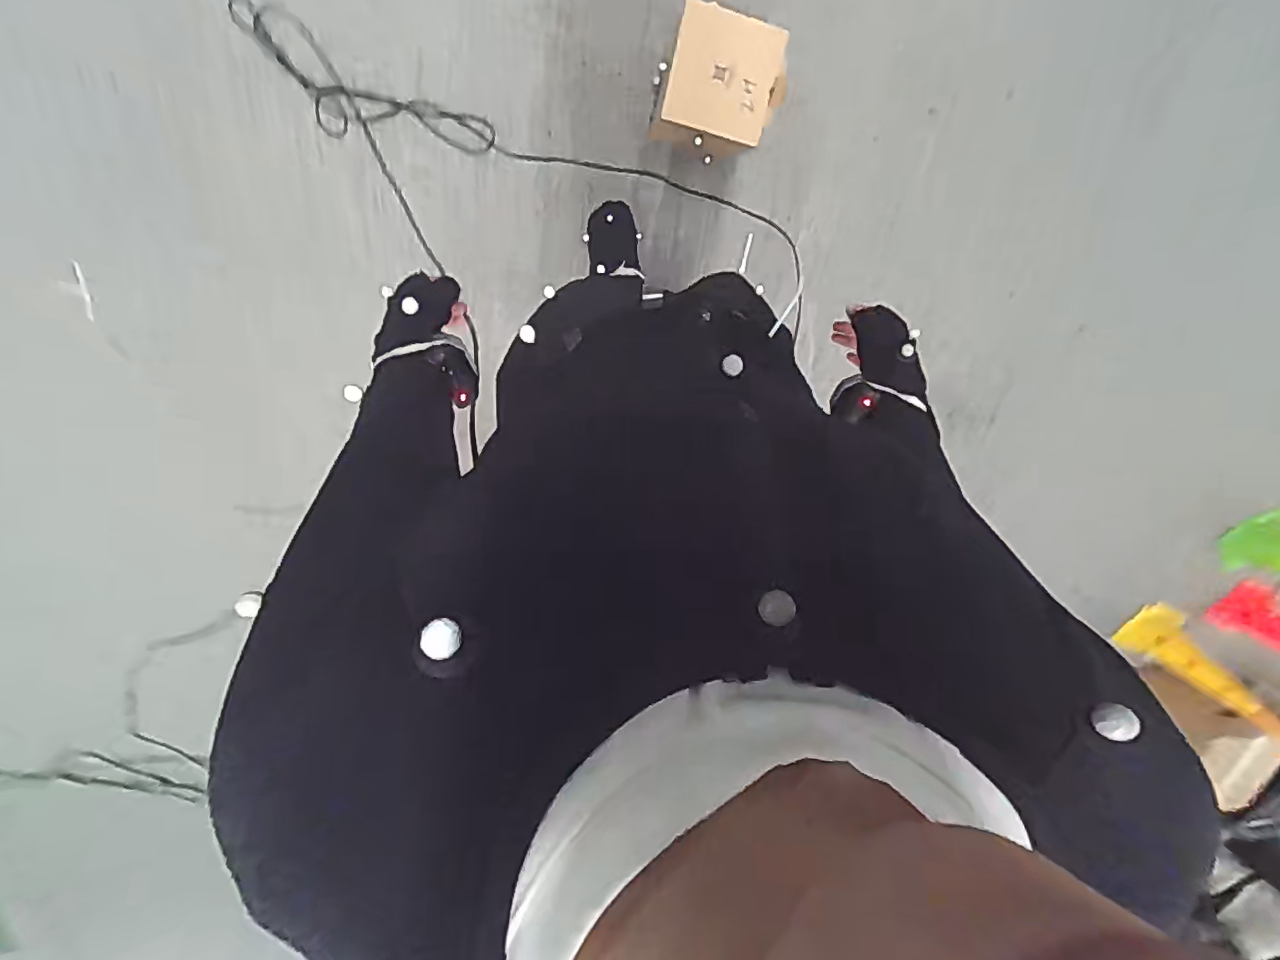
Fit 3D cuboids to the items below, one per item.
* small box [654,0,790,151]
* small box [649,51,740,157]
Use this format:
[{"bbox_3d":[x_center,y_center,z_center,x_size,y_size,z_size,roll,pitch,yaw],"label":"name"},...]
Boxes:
[{"bbox_3d":[0.131,-0.697,0.950,0.179,0.176,0.168,11,115,-10],"label":"small box"},{"bbox_3d":[0.127,-0.764,1.082,0.179,0.176,0.168,14,115,-11],"label":"small box"}]
